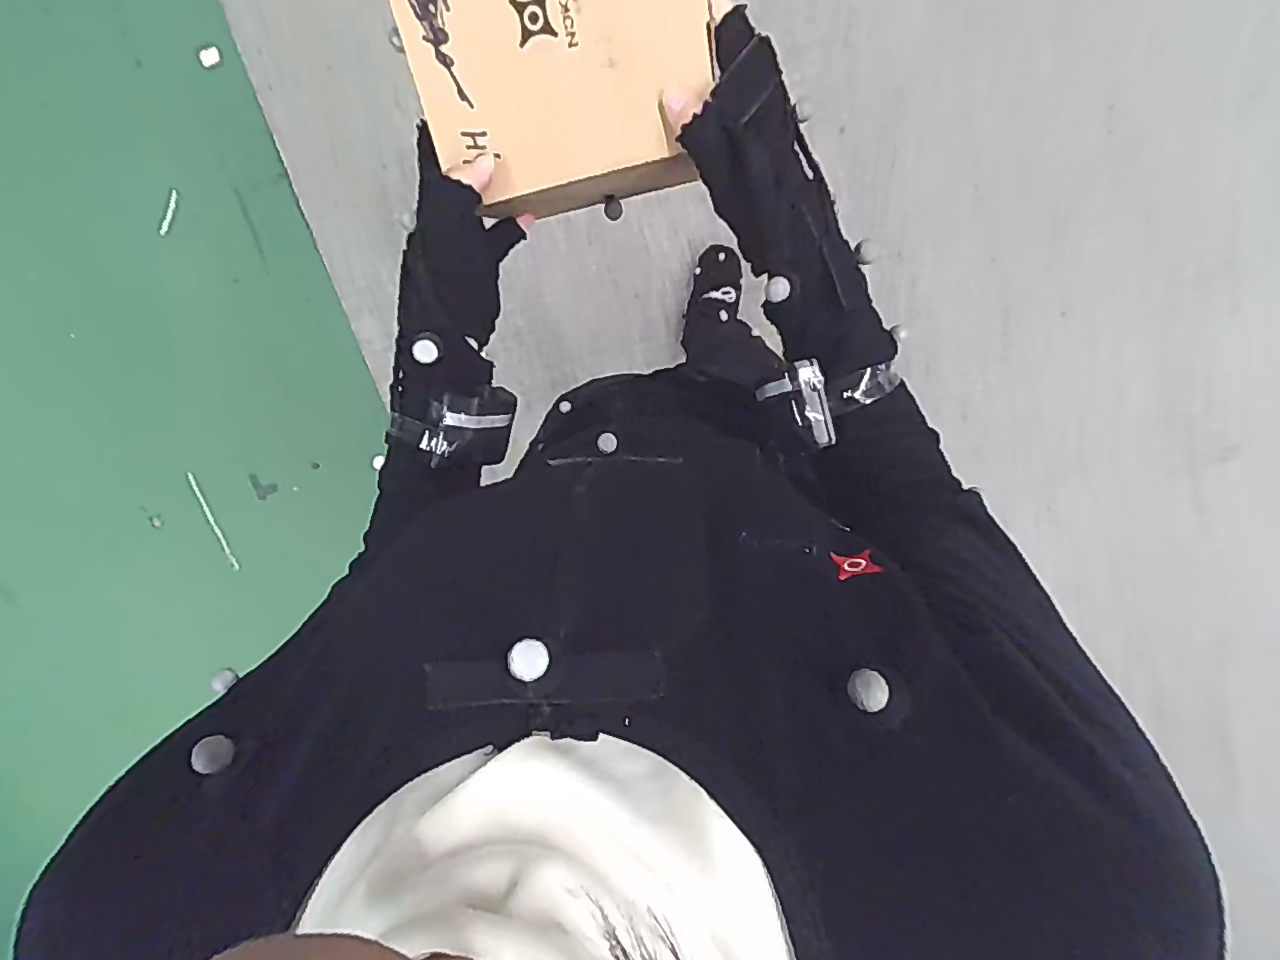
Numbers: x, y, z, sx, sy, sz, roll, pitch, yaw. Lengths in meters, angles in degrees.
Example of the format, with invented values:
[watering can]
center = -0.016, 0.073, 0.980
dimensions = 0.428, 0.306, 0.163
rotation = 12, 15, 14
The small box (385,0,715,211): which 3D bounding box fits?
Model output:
[small box]
center = -0.050, -0.296, 0.374
dimensions = 0.179, 0.176, 0.168
rotation = -9, 111, 8
